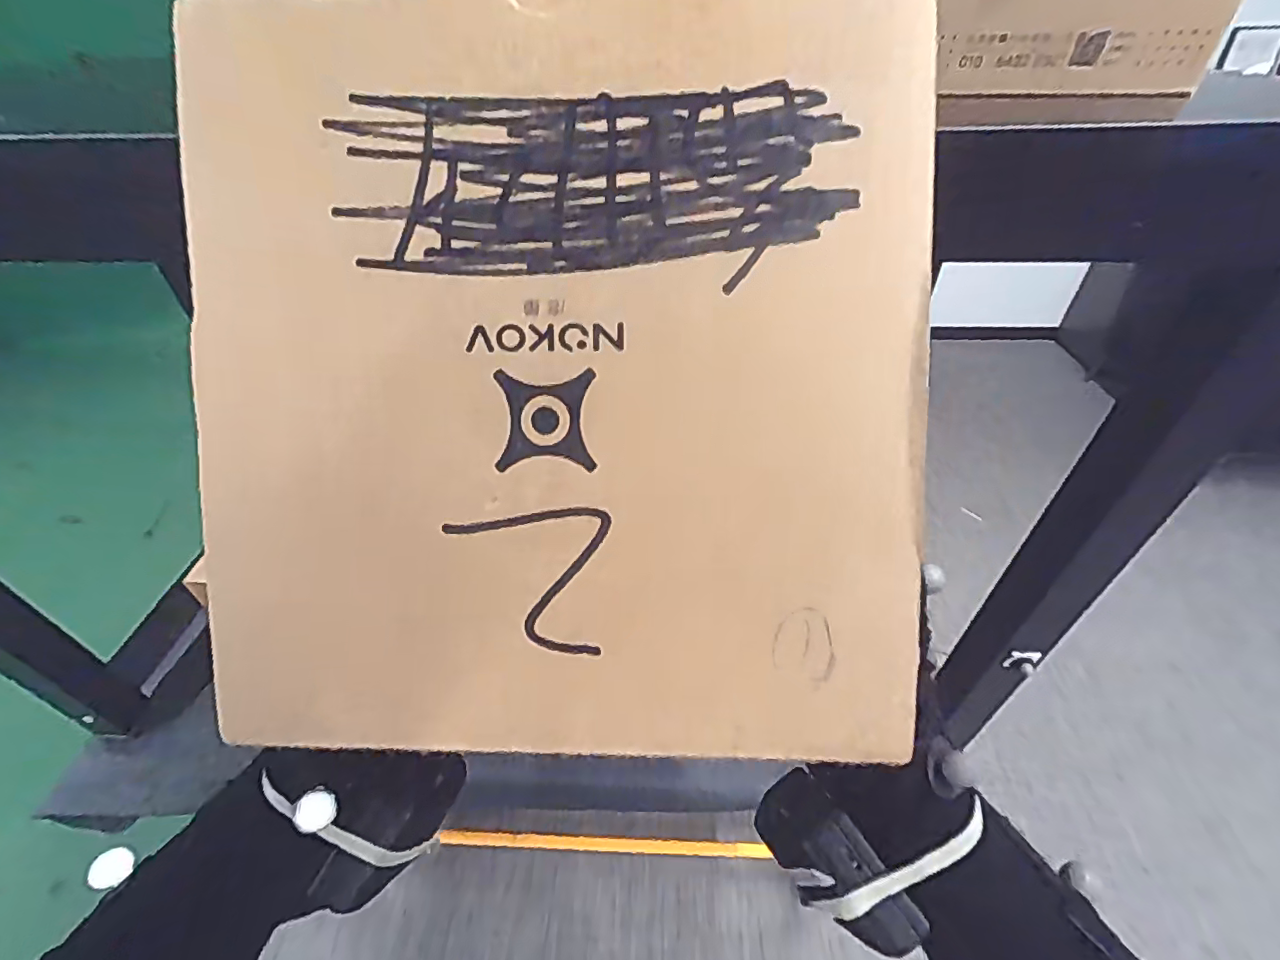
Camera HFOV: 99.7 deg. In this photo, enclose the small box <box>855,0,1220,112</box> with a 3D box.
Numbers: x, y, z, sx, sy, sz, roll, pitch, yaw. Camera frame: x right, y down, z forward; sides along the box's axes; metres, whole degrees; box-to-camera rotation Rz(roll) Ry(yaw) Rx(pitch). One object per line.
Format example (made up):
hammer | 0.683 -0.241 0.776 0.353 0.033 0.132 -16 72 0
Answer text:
small box | 0.235 -0.330 0.323 0.168 0.176 0.179 9 42 10
